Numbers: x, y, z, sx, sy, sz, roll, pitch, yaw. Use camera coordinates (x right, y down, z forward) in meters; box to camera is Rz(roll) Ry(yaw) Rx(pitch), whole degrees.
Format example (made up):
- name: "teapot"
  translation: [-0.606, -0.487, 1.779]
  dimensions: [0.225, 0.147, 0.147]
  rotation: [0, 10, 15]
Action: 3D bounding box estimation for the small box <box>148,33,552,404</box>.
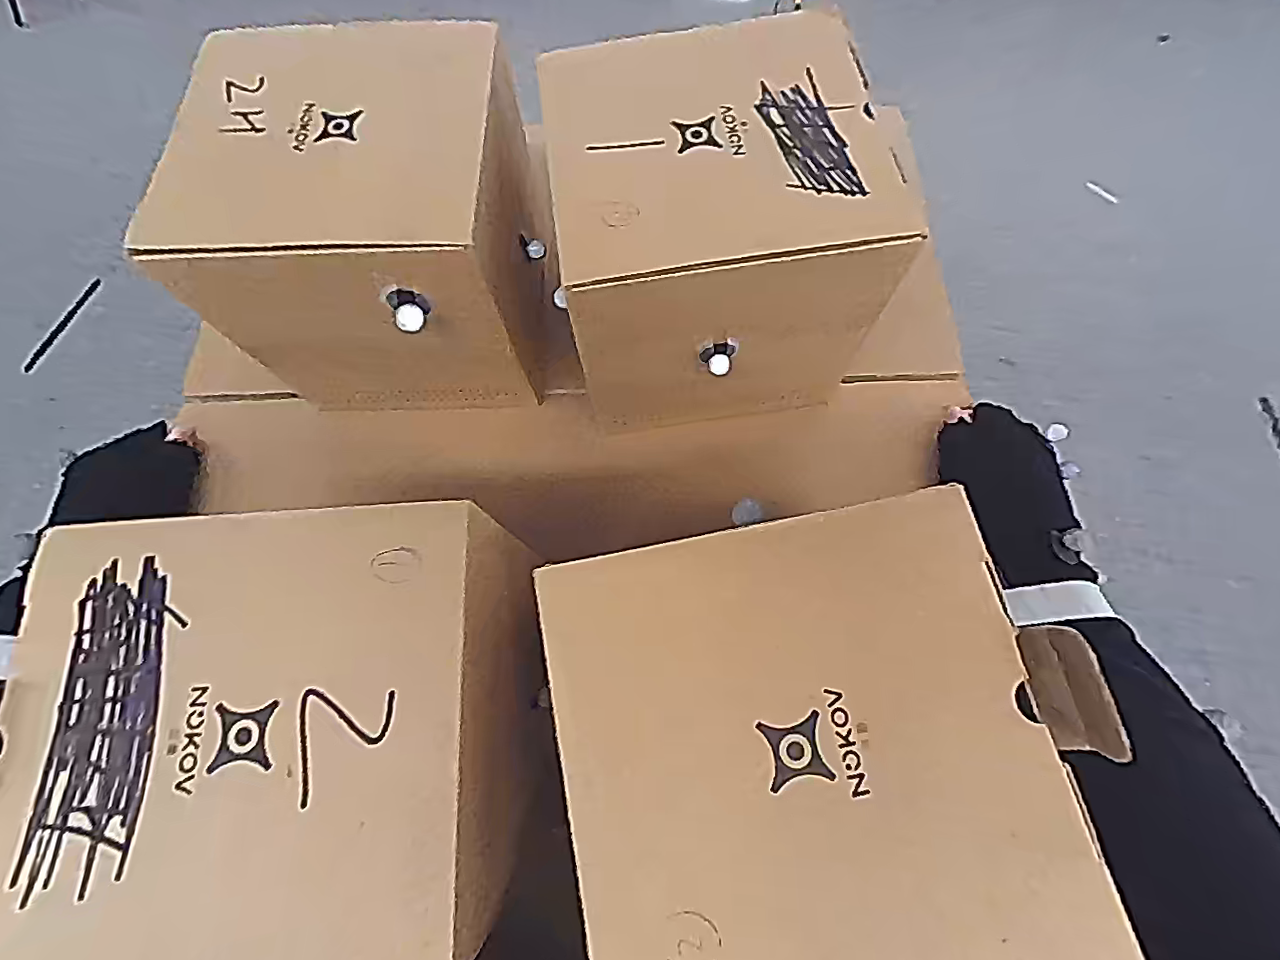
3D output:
- name: "small box"
  translation: [-0.163, -0.163, 0.377]
  dimensions: [0.179, 0.176, 0.168]
  rotation: [1, 70, 2]
